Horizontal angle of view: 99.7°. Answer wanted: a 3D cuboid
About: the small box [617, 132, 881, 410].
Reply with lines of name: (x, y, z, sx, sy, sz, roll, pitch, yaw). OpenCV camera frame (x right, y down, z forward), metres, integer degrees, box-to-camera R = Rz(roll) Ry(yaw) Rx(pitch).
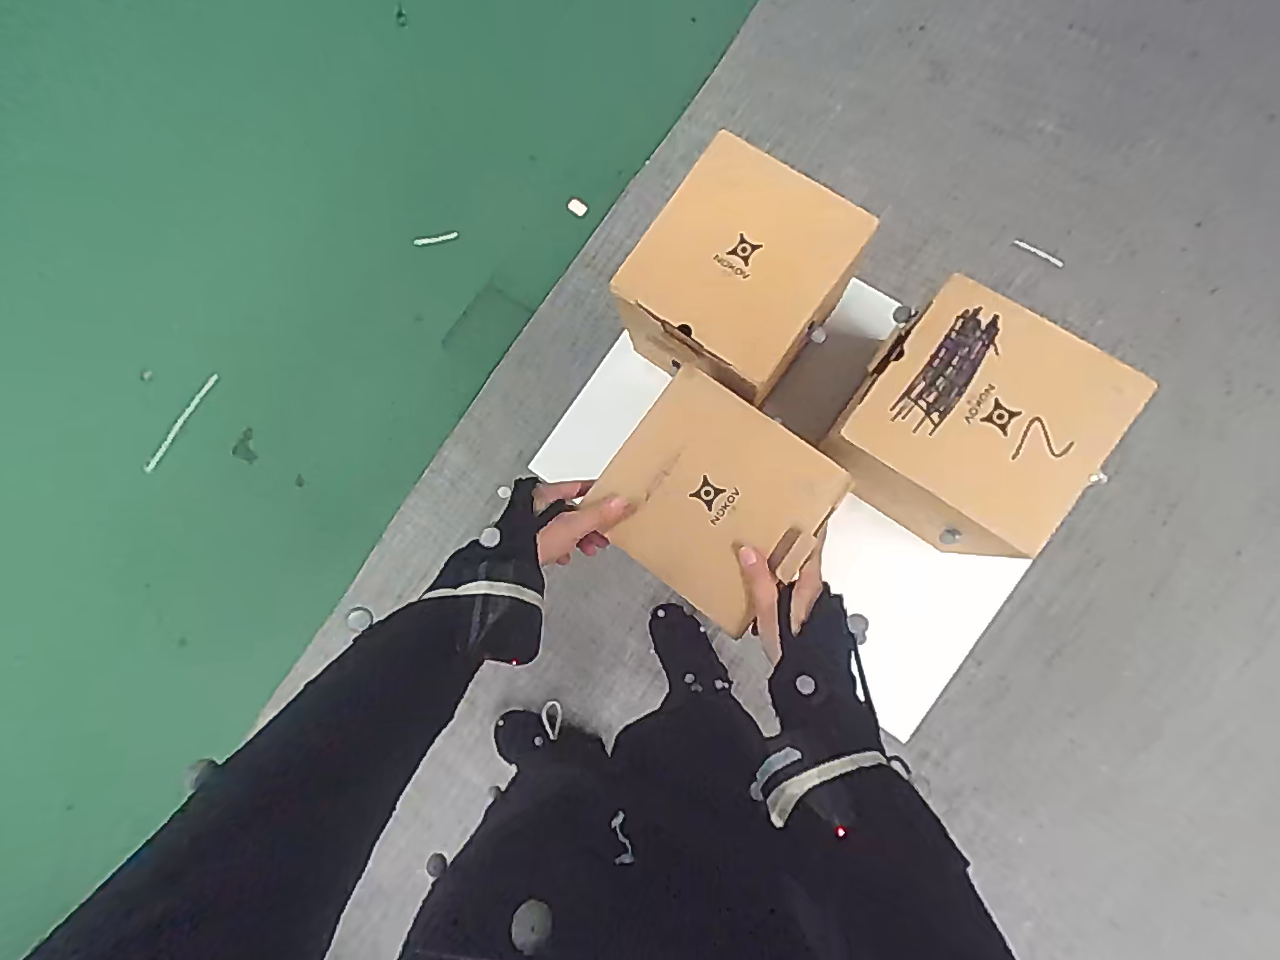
small box: (0.100, -0.188, 0.548, 0.168, 0.176, 0.179, 36, 90, 9)

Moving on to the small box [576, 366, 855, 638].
small box: (0.071, 0.024, 0.528, 0.179, 0.176, 0.168, 37, 87, 11)
